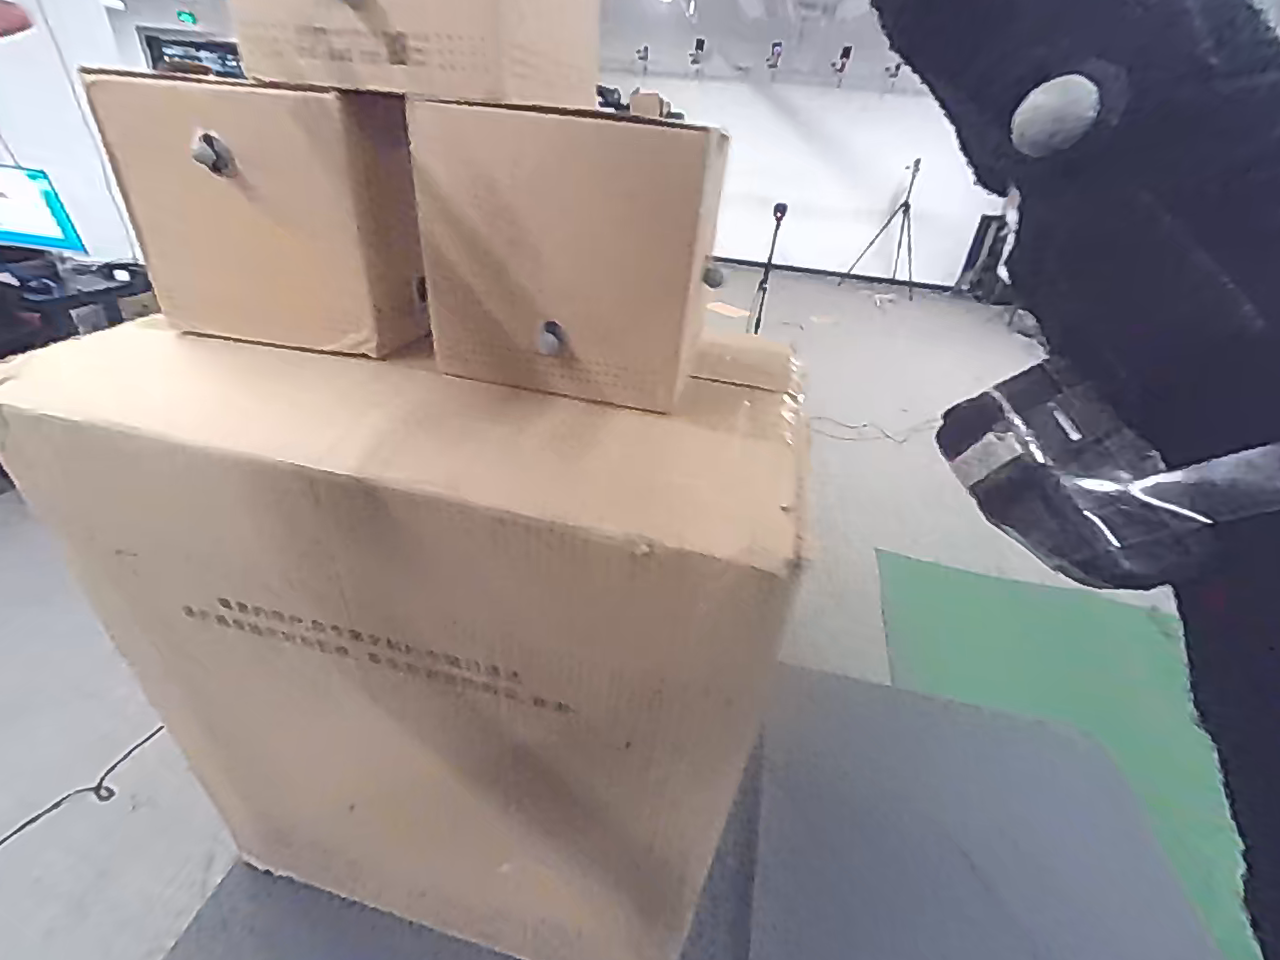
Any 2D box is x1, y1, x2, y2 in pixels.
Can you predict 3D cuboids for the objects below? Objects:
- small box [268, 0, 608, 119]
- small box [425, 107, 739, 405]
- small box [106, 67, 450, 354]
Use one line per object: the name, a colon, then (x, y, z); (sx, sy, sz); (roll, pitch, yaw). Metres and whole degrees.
small box: (-0.120, -0.335, 0.343); (0.168, 0.176, 0.179); (11, 34, 9)
small box: (-0.031, -0.170, 0.409); (0.179, 0.176, 0.168); (10, 32, 8)
small box: (-0.246, -0.213, 0.439); (0.179, 0.176, 0.168); (10, 33, 5)
